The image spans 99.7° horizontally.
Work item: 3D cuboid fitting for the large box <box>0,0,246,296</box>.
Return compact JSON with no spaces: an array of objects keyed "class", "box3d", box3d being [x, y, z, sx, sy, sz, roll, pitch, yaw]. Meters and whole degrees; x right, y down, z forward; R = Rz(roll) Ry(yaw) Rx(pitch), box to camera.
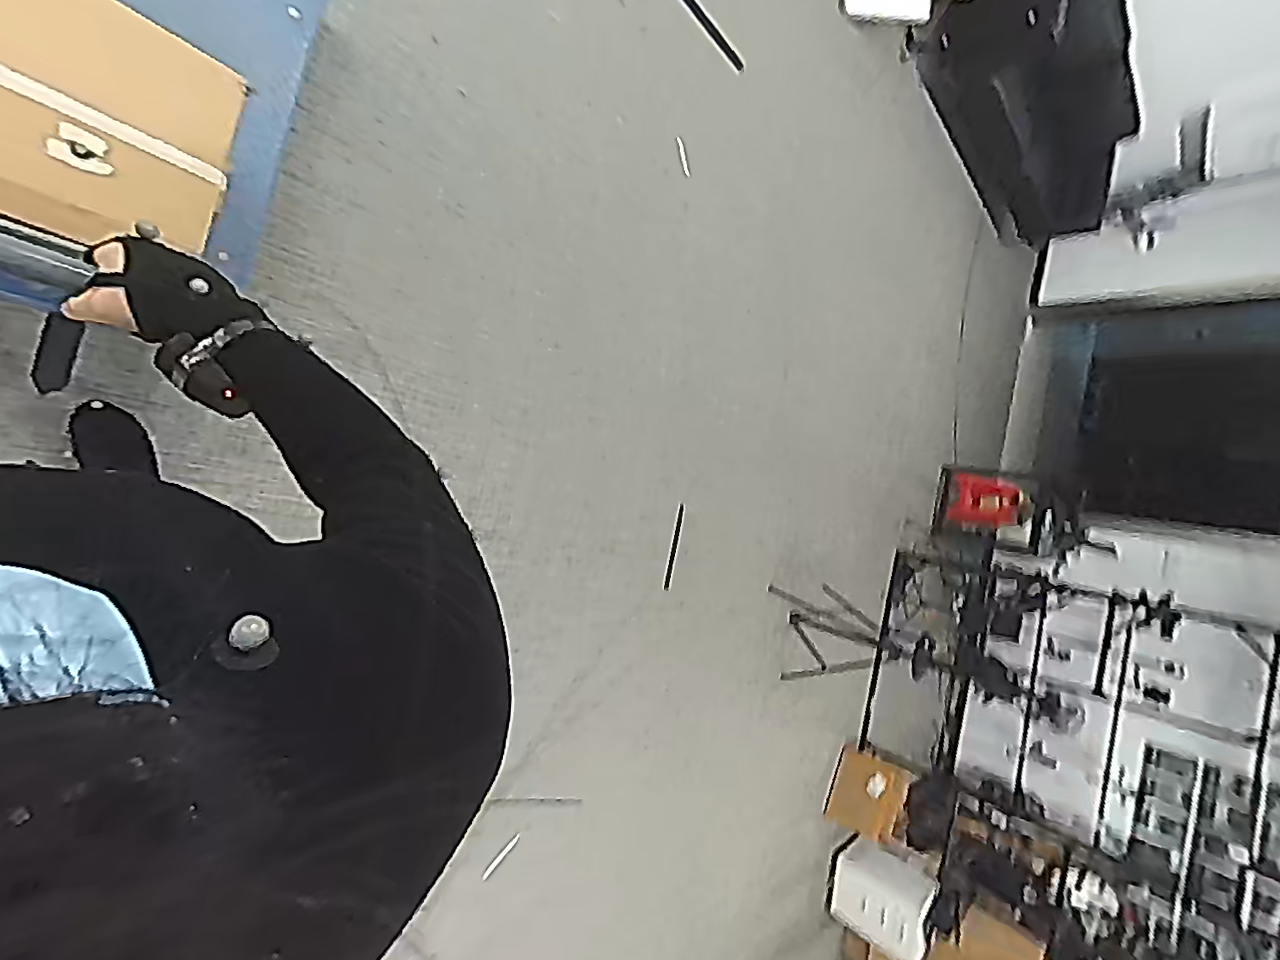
[{"class":"large box","box3d":[-0.857,-0.500,0.756,0.408,0.320,0.320,17,86,-46]}]
